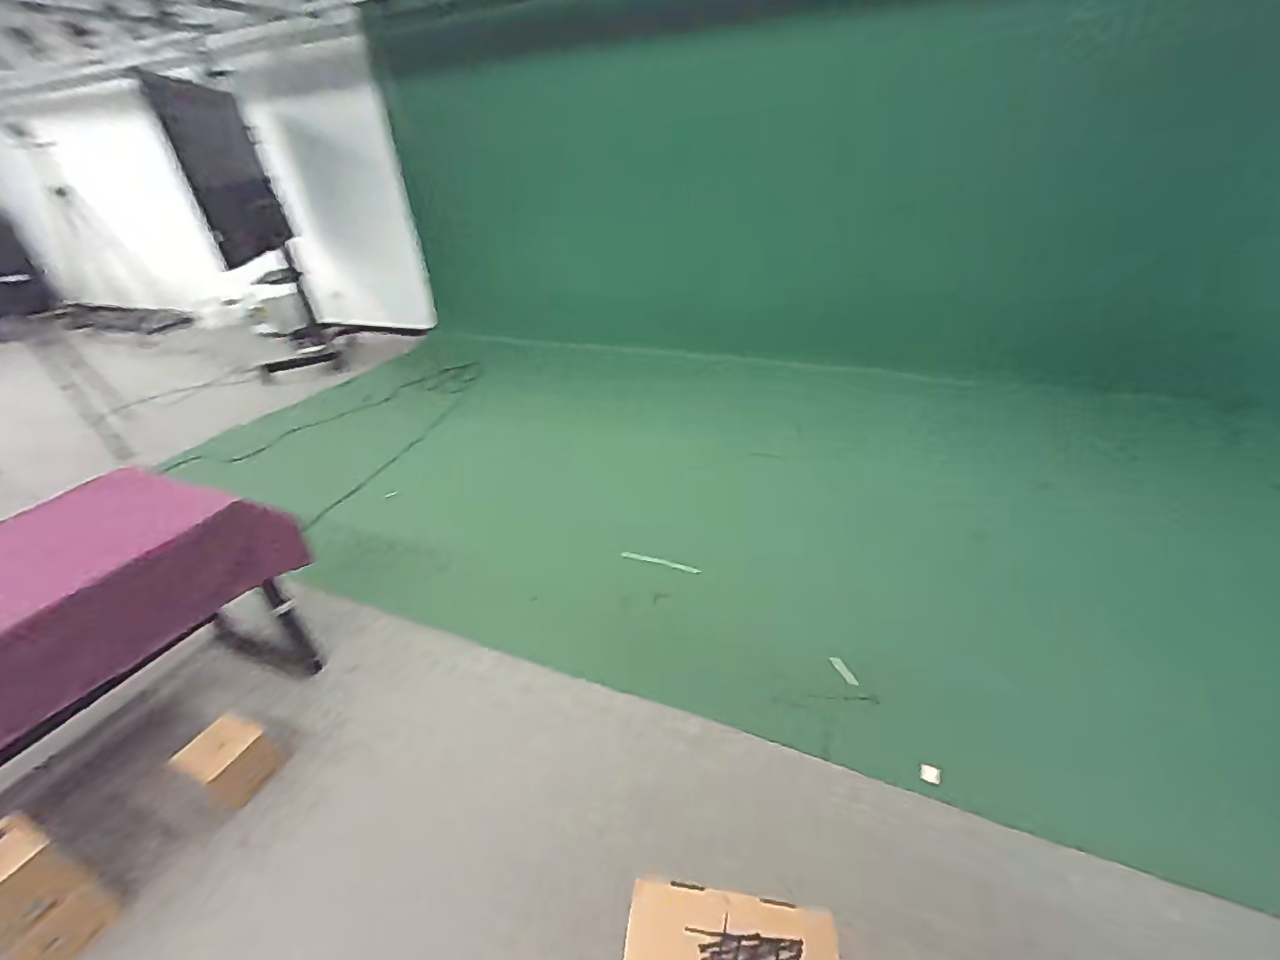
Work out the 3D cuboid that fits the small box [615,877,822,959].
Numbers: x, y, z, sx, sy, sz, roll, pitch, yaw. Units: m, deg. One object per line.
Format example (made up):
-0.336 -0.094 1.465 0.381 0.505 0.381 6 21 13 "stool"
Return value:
0.054 0.463 0.447 0.168 0.176 0.179 5 45 5 "small box"
